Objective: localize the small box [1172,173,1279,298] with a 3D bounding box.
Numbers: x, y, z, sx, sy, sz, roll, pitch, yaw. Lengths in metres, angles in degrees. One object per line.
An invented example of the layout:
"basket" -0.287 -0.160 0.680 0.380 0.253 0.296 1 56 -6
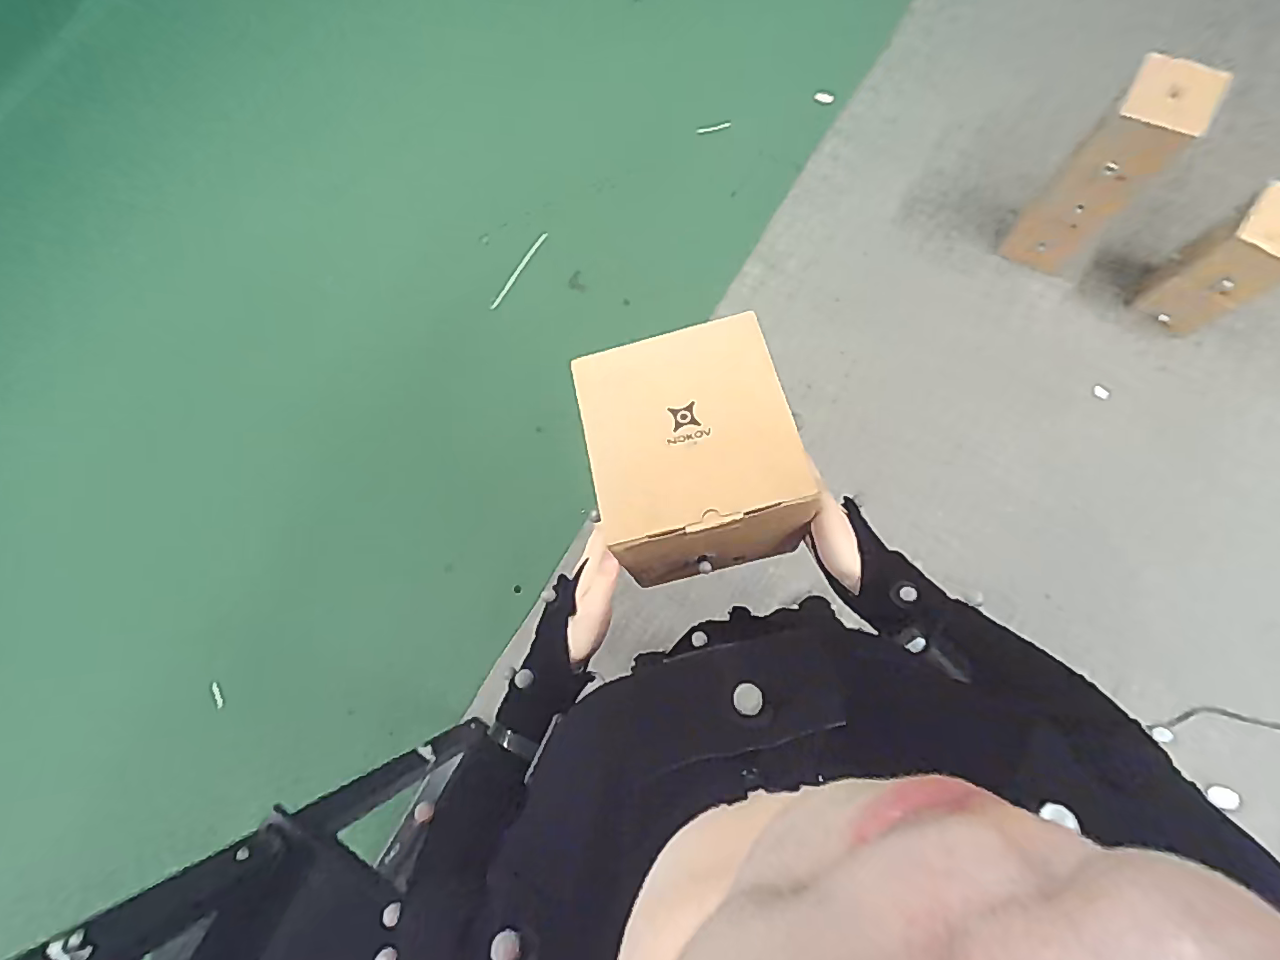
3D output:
"small box" 1.453 -0.577 1.294 0.168 0.176 0.179 34 84 13

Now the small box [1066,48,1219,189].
"small box" 1.114 -0.806 1.216 0.168 0.176 0.179 28 83 13

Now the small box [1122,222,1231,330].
"small box" 1.468 -0.542 1.454 0.168 0.176 0.179 36 86 12
